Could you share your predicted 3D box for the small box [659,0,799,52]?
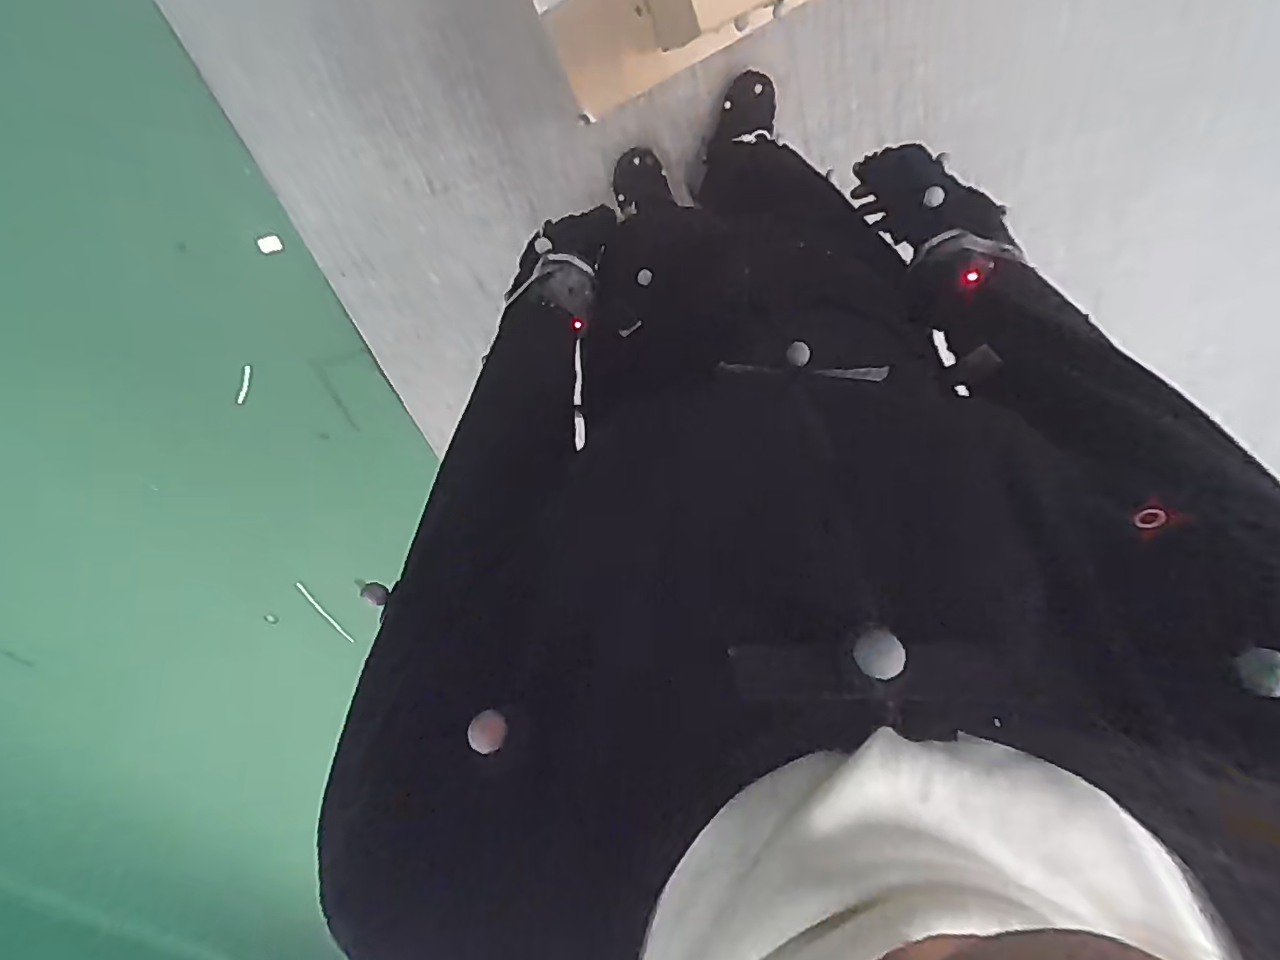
[{"bbox_3d":[0.092,-0.472,0.424,0.179,0.176,0.168,-19,124,11],"label":"small box"}]
